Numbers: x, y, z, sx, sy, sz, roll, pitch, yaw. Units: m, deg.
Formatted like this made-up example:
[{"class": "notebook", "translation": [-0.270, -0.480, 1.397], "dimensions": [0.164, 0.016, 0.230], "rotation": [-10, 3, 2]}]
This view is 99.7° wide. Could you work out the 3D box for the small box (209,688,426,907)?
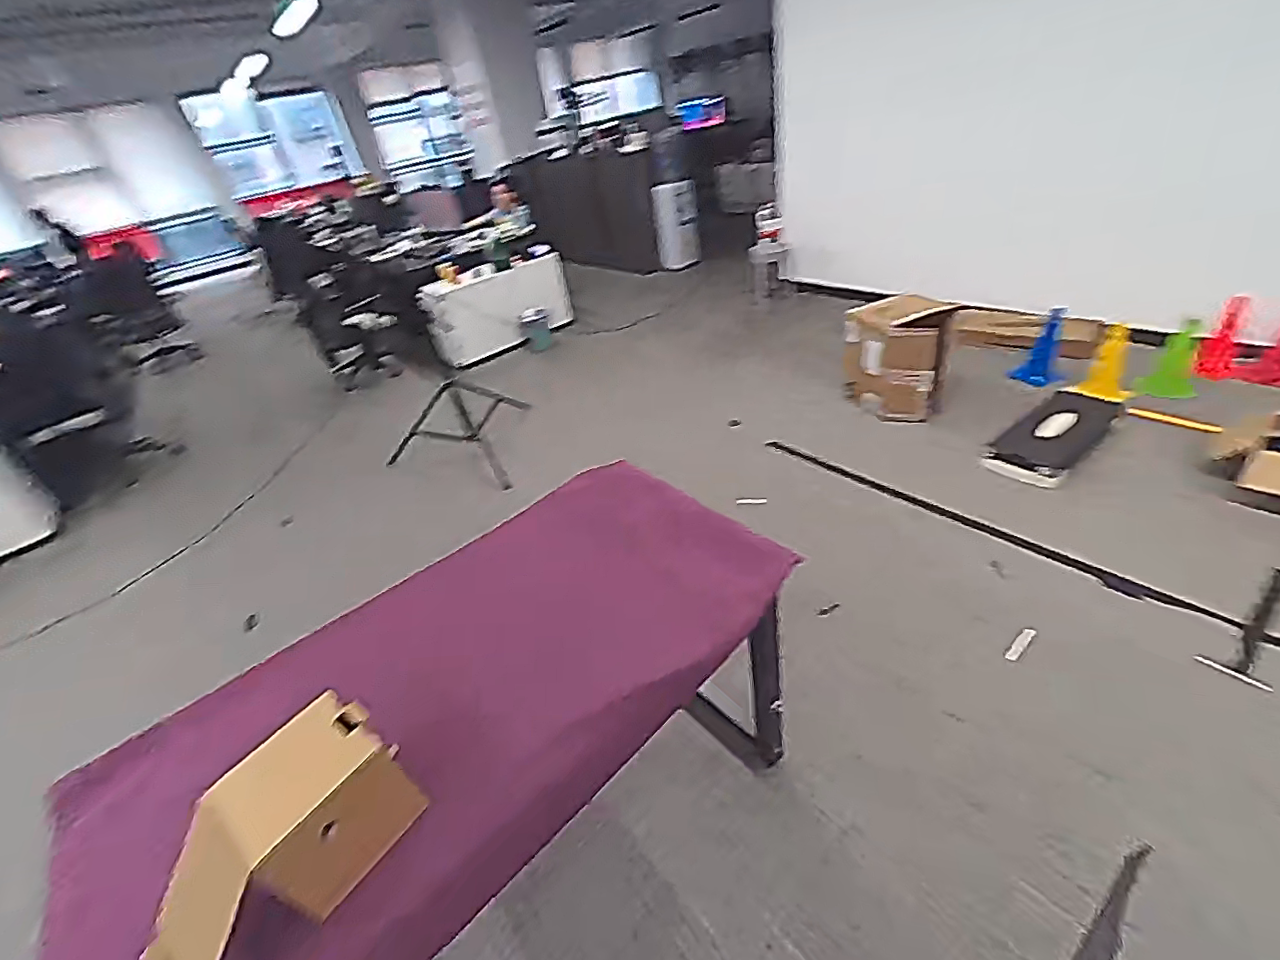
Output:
[{"class": "small box", "translation": [-0.441, 0.441, 0.759], "dimensions": [0.168, 0.176, 0.179], "rotation": [17, 43, 35]}]
